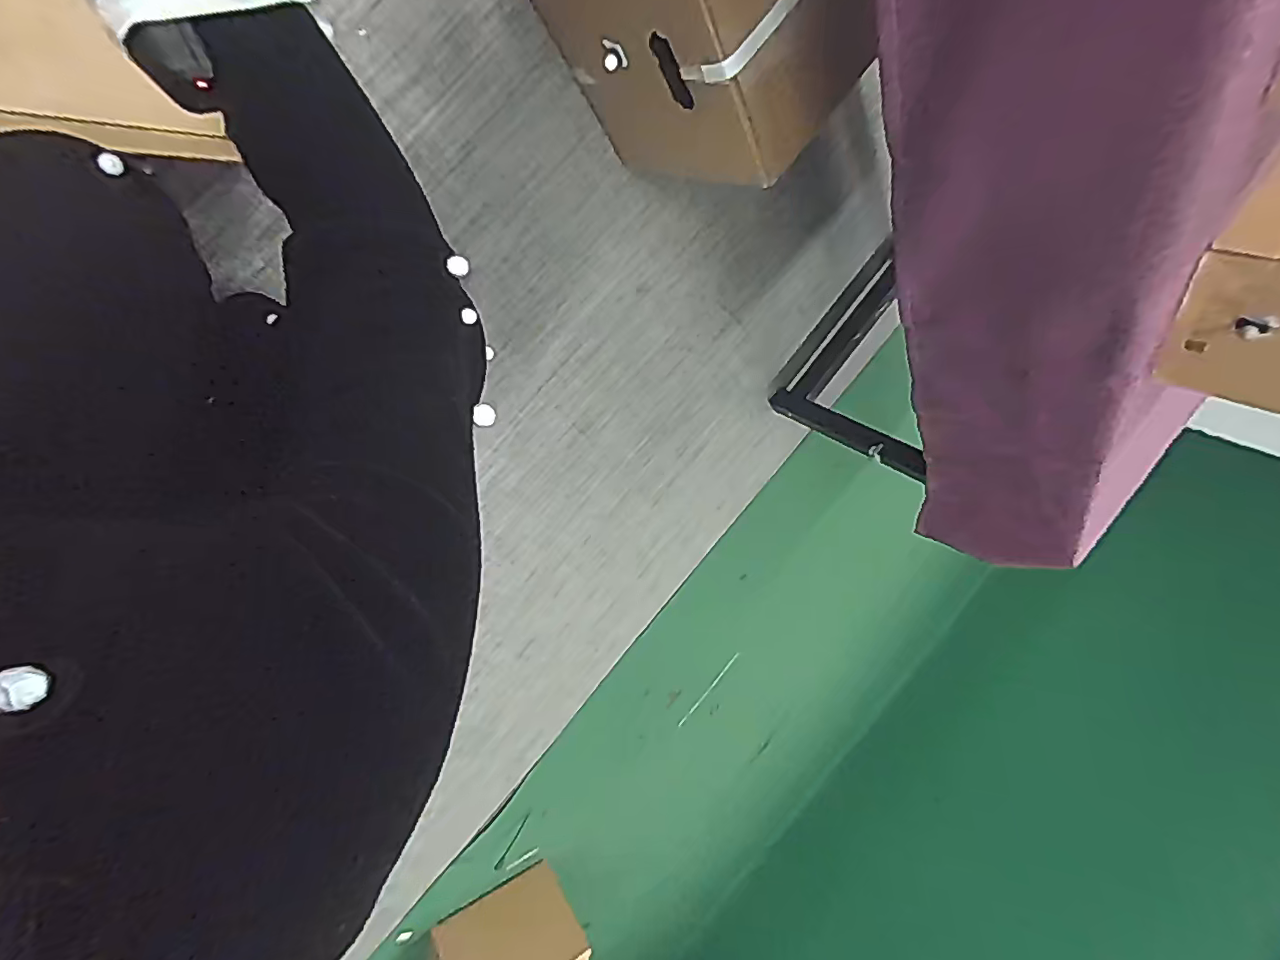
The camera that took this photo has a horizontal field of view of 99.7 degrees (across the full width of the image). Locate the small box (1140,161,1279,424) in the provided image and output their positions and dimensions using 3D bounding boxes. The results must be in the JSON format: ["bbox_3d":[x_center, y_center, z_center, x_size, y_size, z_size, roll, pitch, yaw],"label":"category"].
[{"bbox_3d":[0.608,-0.171,0.478,0.179,0.176,0.168,-45,139,-6],"label":"small box"}]
